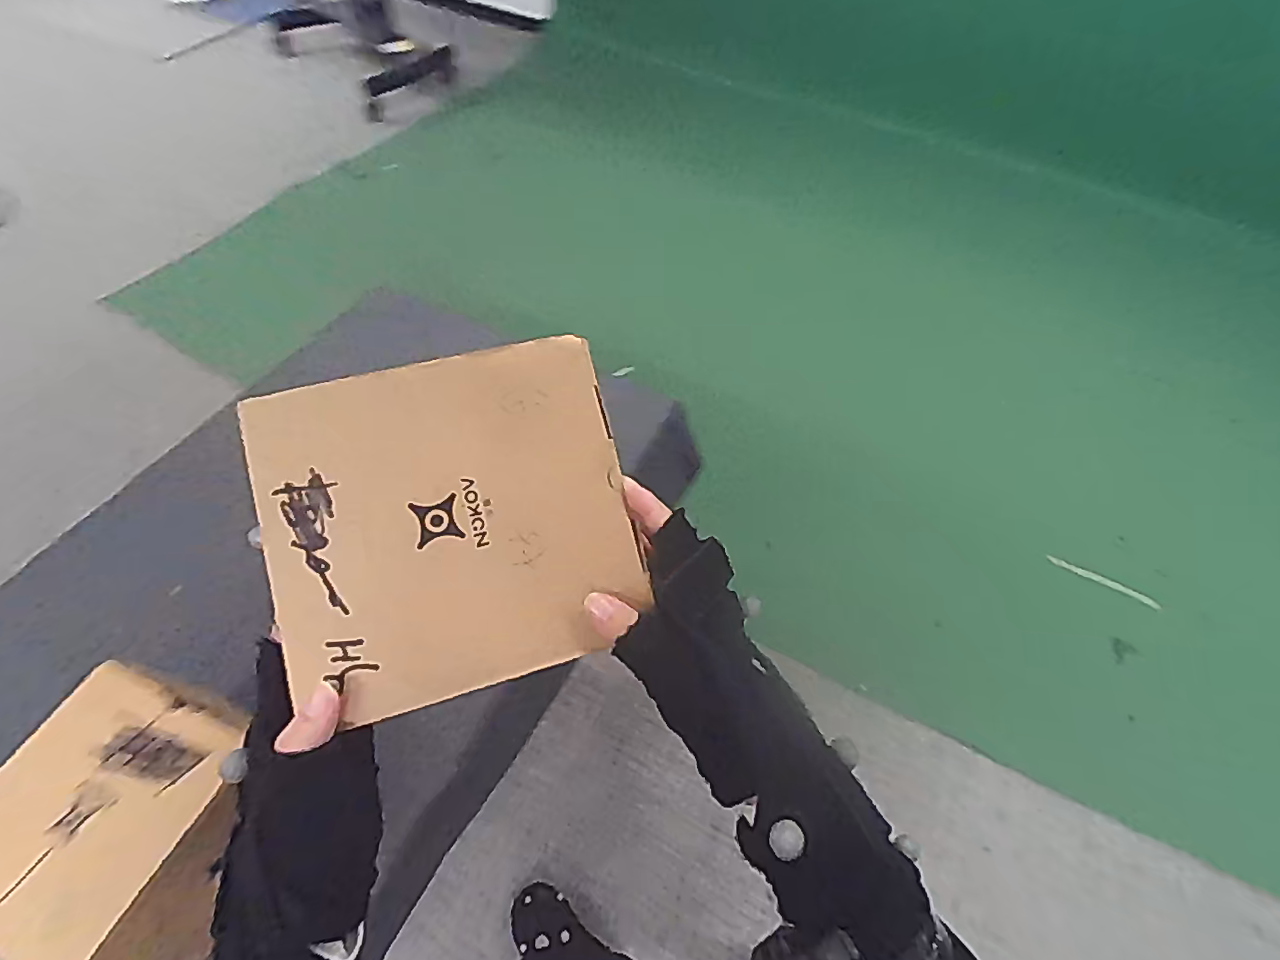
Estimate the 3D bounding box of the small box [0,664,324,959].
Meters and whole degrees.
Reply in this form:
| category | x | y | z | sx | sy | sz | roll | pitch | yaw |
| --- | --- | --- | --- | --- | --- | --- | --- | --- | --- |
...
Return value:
| category | x | y | z | sx | sy | sz | roll | pitch | yaw |
| --- | --- | --- | --- | --- | --- | --- | --- | --- | --- |
| small box | -0.426 | 0.300 | 0.491 | 0.168 | 0.176 | 0.179 | 19 | 56 | 8 |
